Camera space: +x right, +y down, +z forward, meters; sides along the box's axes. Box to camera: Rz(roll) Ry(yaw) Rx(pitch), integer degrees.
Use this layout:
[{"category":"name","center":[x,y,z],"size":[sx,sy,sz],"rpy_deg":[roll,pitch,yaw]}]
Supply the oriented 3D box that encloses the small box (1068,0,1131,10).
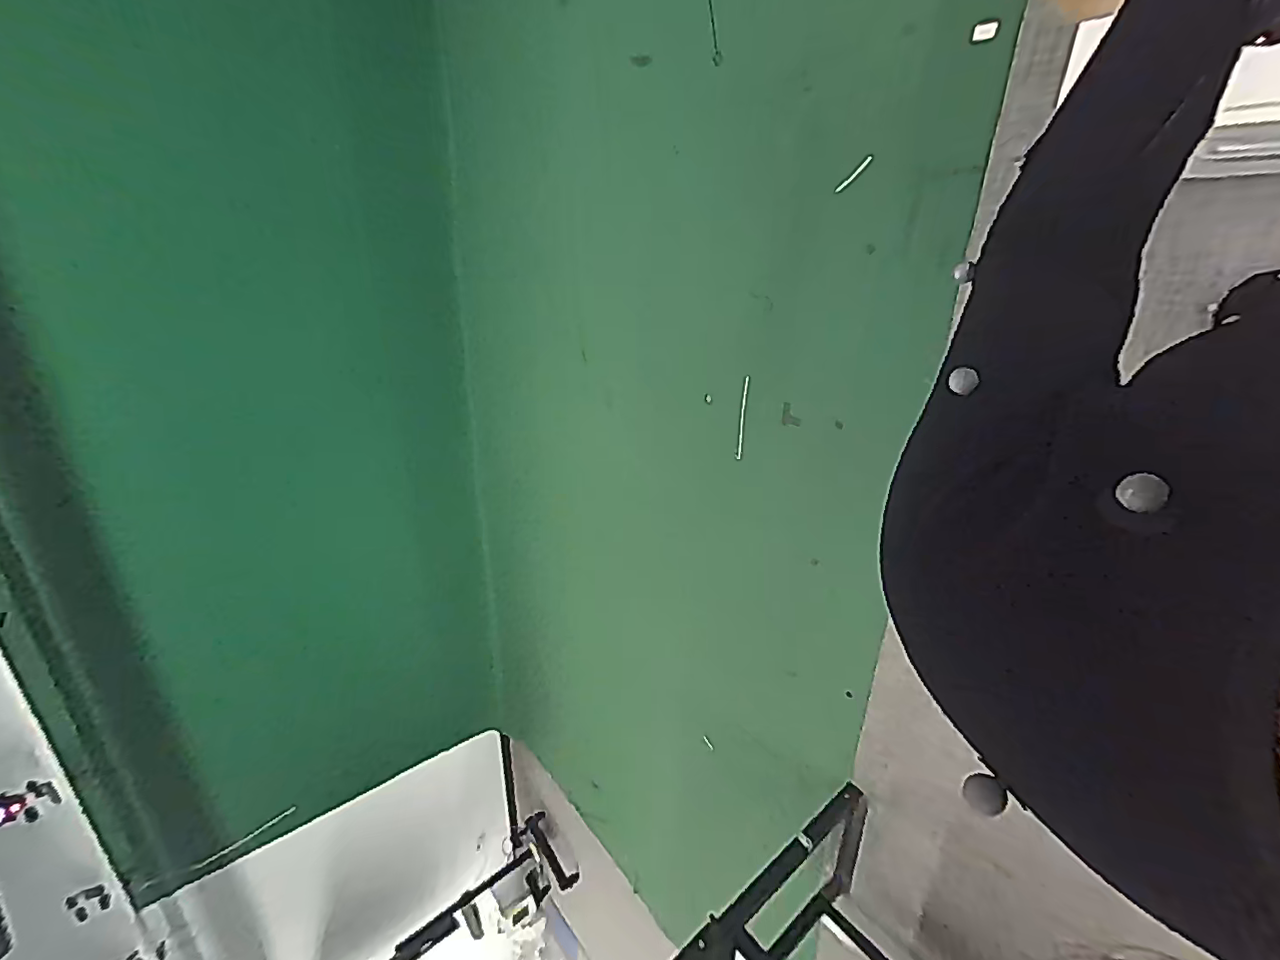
[{"category":"small box","center":[0.535,-0.605,0.533],"size":[0.179,0.176,0.168],"rpy_deg":[26,123,42]}]
